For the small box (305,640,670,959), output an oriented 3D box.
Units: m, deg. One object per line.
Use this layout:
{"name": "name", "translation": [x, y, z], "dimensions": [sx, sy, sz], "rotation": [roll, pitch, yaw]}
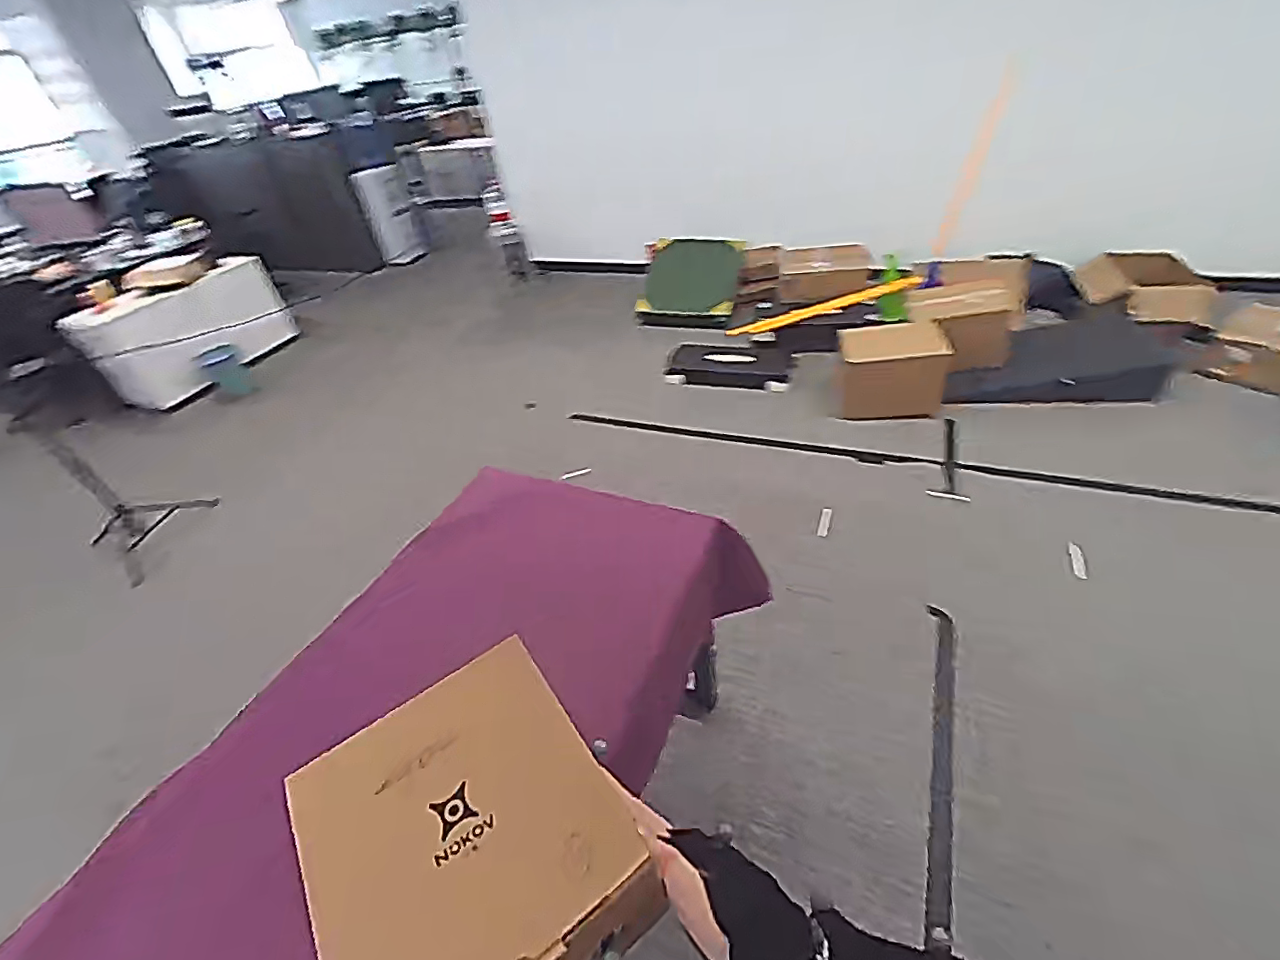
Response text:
{"name": "small box", "translation": [-0.092, 0.255, 0.373], "dimensions": [0.168, 0.176, 0.179], "rotation": [-28, 48, -21]}
